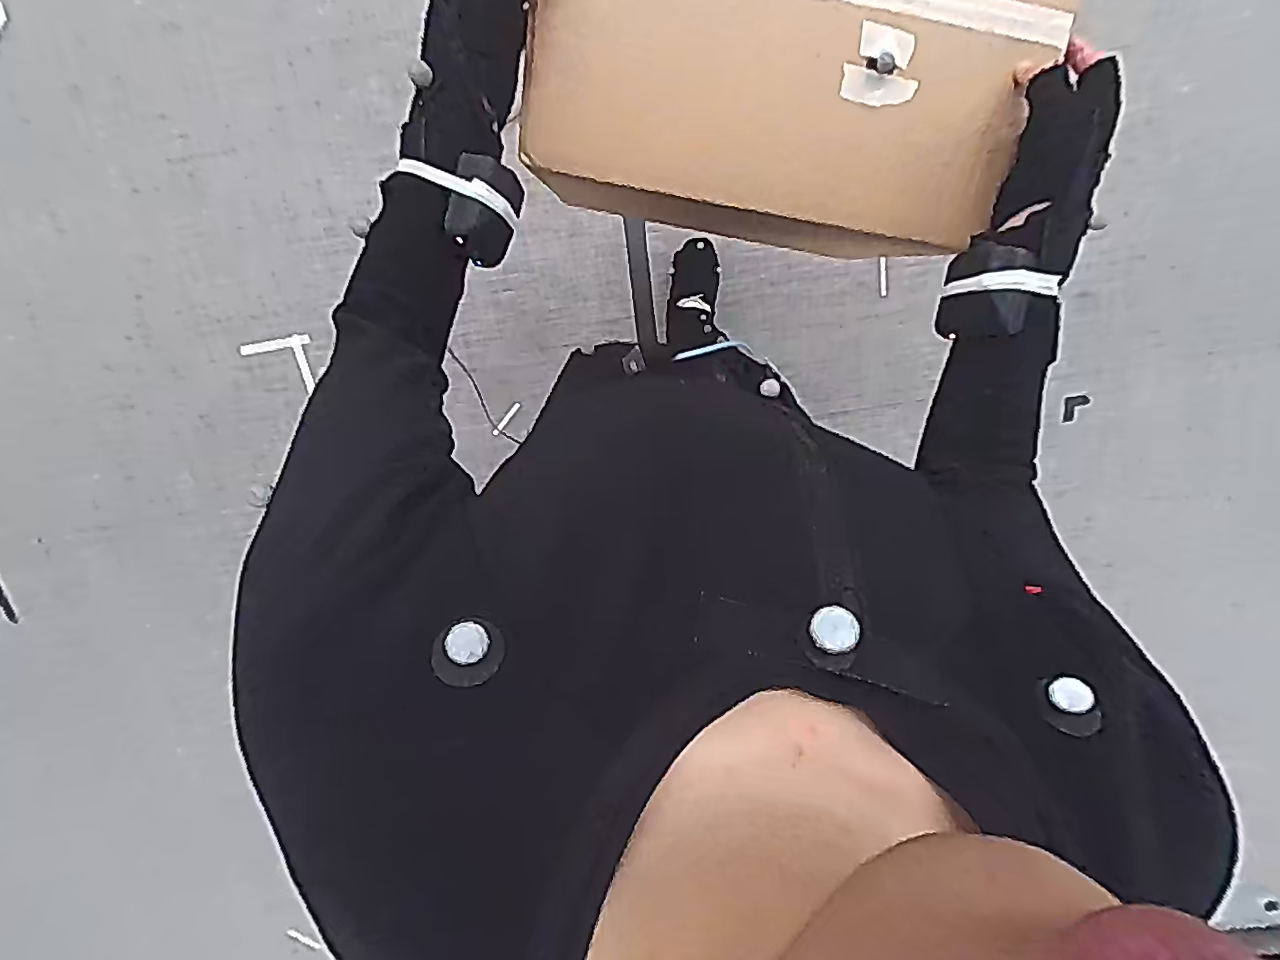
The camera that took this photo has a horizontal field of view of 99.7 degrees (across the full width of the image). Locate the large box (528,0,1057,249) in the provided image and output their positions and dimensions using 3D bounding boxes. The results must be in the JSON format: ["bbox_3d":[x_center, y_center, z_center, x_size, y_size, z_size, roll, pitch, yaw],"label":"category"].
[{"bbox_3d":[0.117,-0.433,0.548,0.408,0.320,0.320,8,112,-5],"label":"large box"}]
